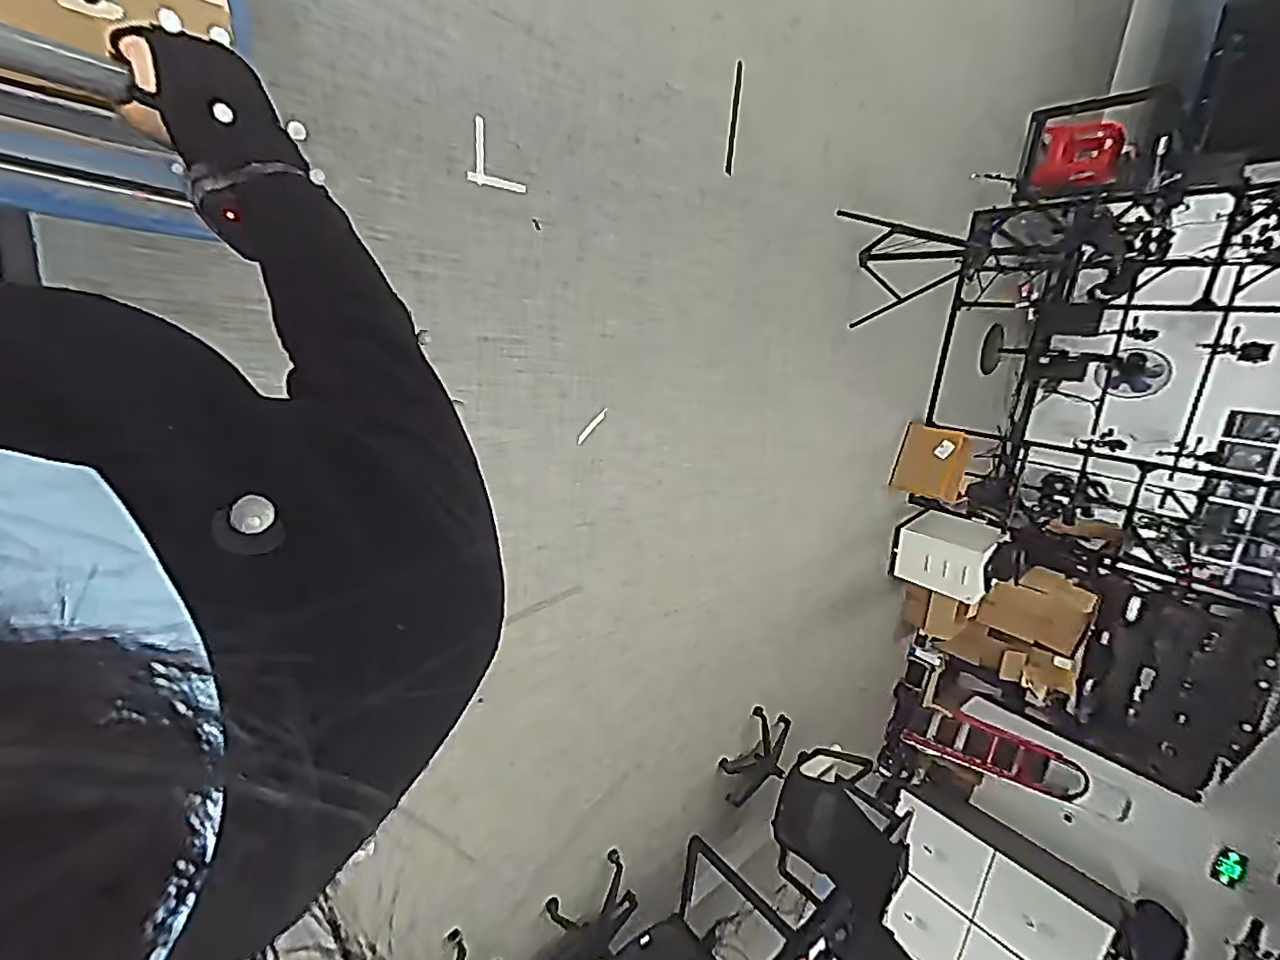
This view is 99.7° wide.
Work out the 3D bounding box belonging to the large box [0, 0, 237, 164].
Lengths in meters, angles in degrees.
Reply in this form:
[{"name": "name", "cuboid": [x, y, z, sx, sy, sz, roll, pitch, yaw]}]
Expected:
[{"name": "large box", "cuboid": [-0.814, -0.648, 0.700, 0.408, 0.320, 0.320, -11, 112, -42]}]
